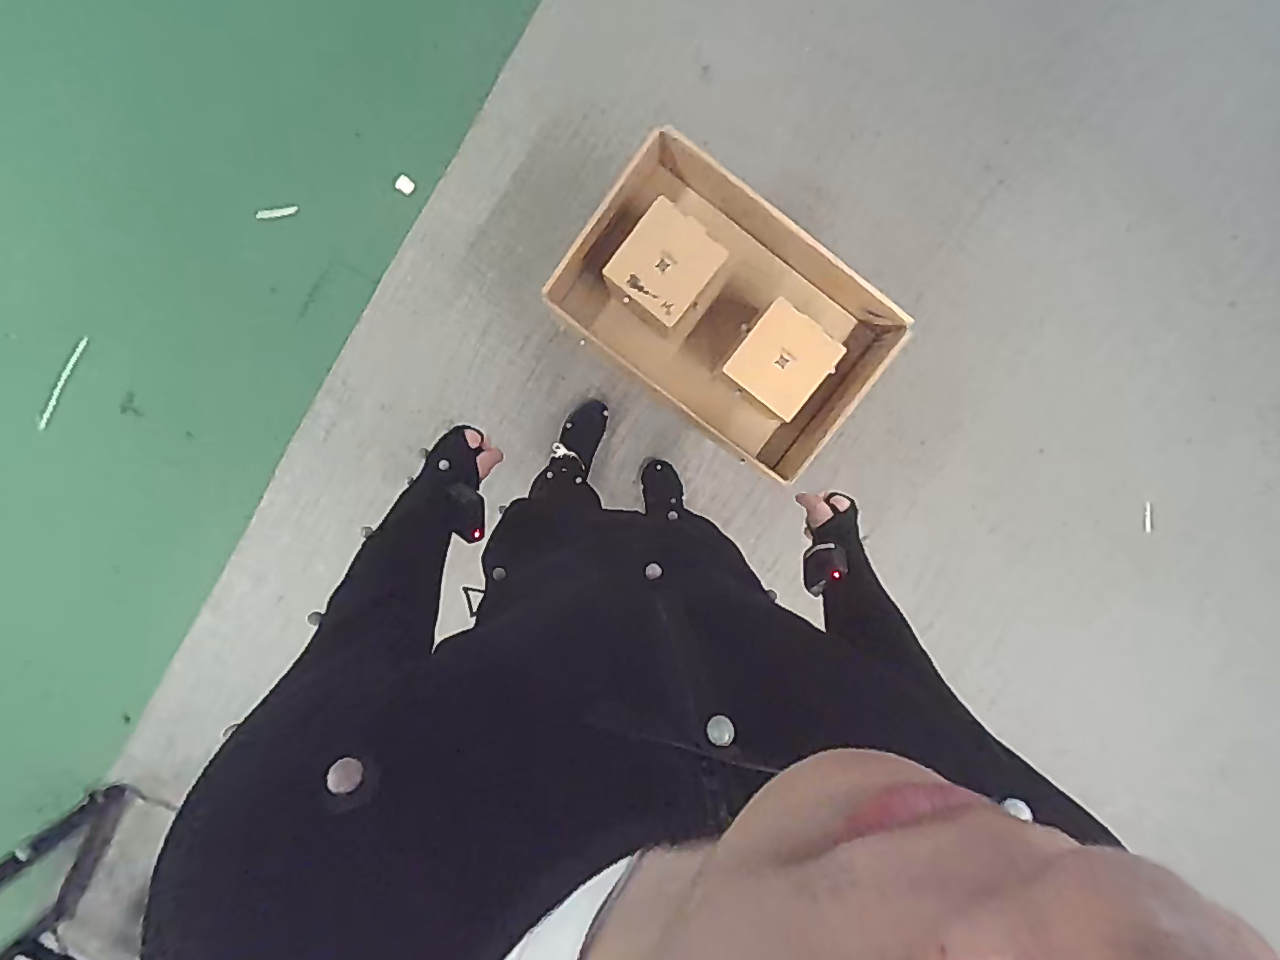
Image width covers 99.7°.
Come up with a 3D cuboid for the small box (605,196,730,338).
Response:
[{"bbox_3d":[0.049,-0.406,1.064,0.168,0.176,0.179,40,95,-3],"label":"small box"}]

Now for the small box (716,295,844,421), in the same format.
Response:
[{"bbox_3d":[0.268,-0.234,1.086,0.168,0.176,0.179,38,95,-4],"label":"small box"}]
